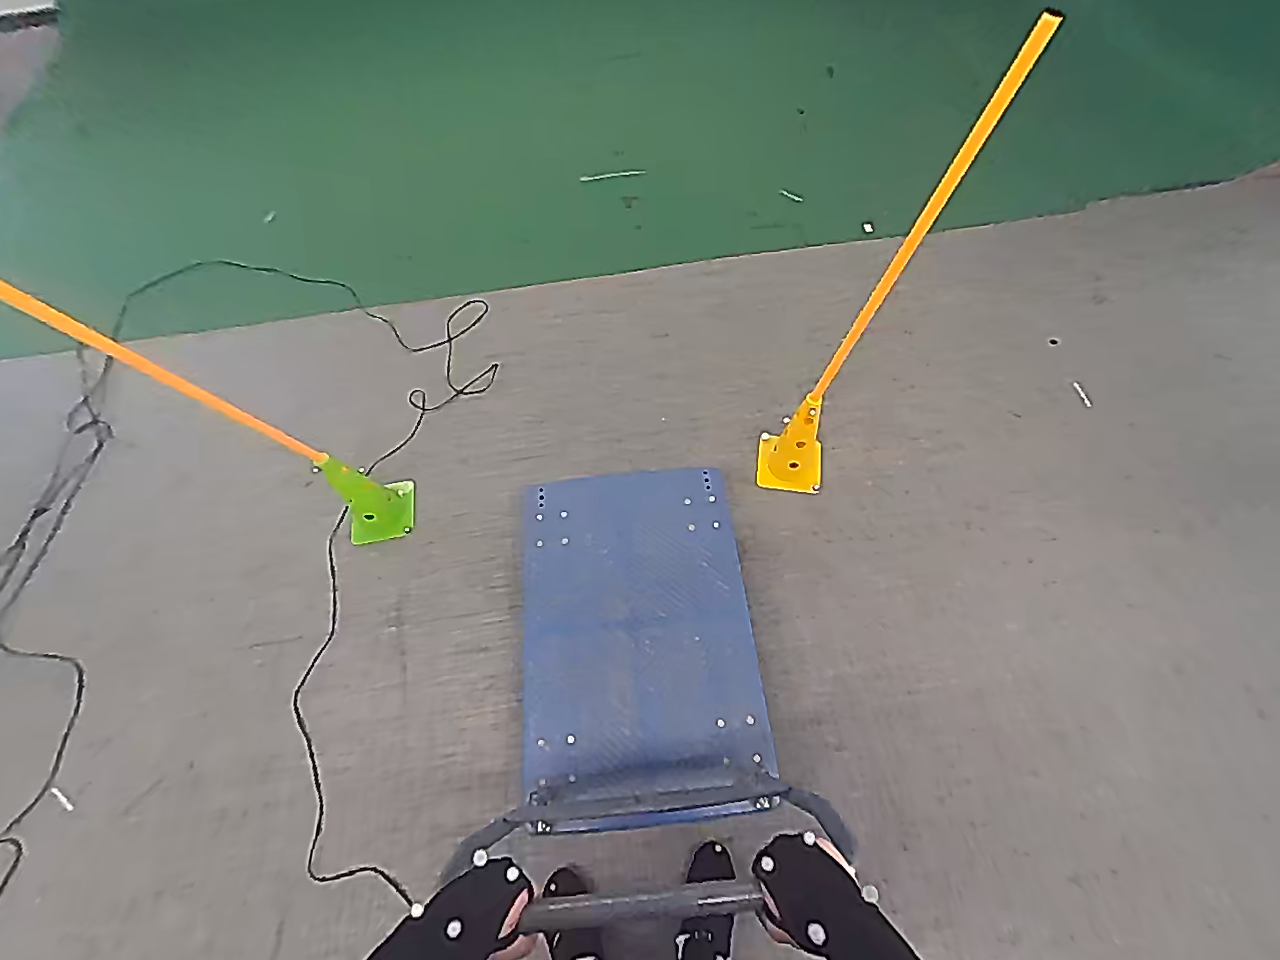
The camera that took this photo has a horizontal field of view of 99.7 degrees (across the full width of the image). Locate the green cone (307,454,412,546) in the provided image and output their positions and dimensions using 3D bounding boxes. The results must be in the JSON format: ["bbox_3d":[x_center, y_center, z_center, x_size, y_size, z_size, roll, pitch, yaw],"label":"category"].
[{"bbox_3d":[-0.855,0.026,1.608,0.202,0.368,0.200,-13,62,-1],"label":"green cone"}]
